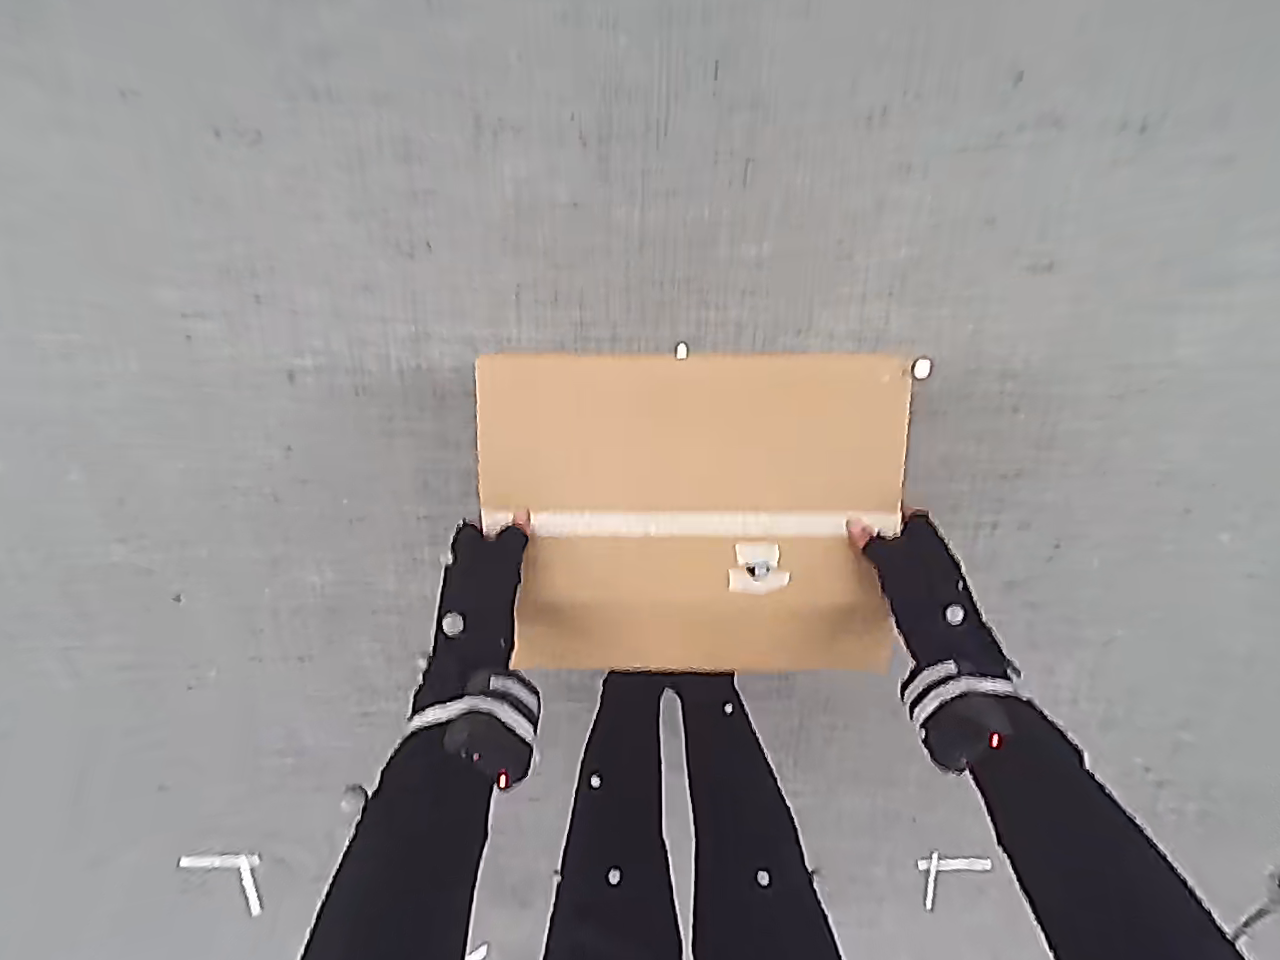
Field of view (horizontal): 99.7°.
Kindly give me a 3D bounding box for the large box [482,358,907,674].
[{"bbox_3d":[0.052,0.019,0.672,0.408,0.320,0.320,0,100,0],"label":"large box"}]
